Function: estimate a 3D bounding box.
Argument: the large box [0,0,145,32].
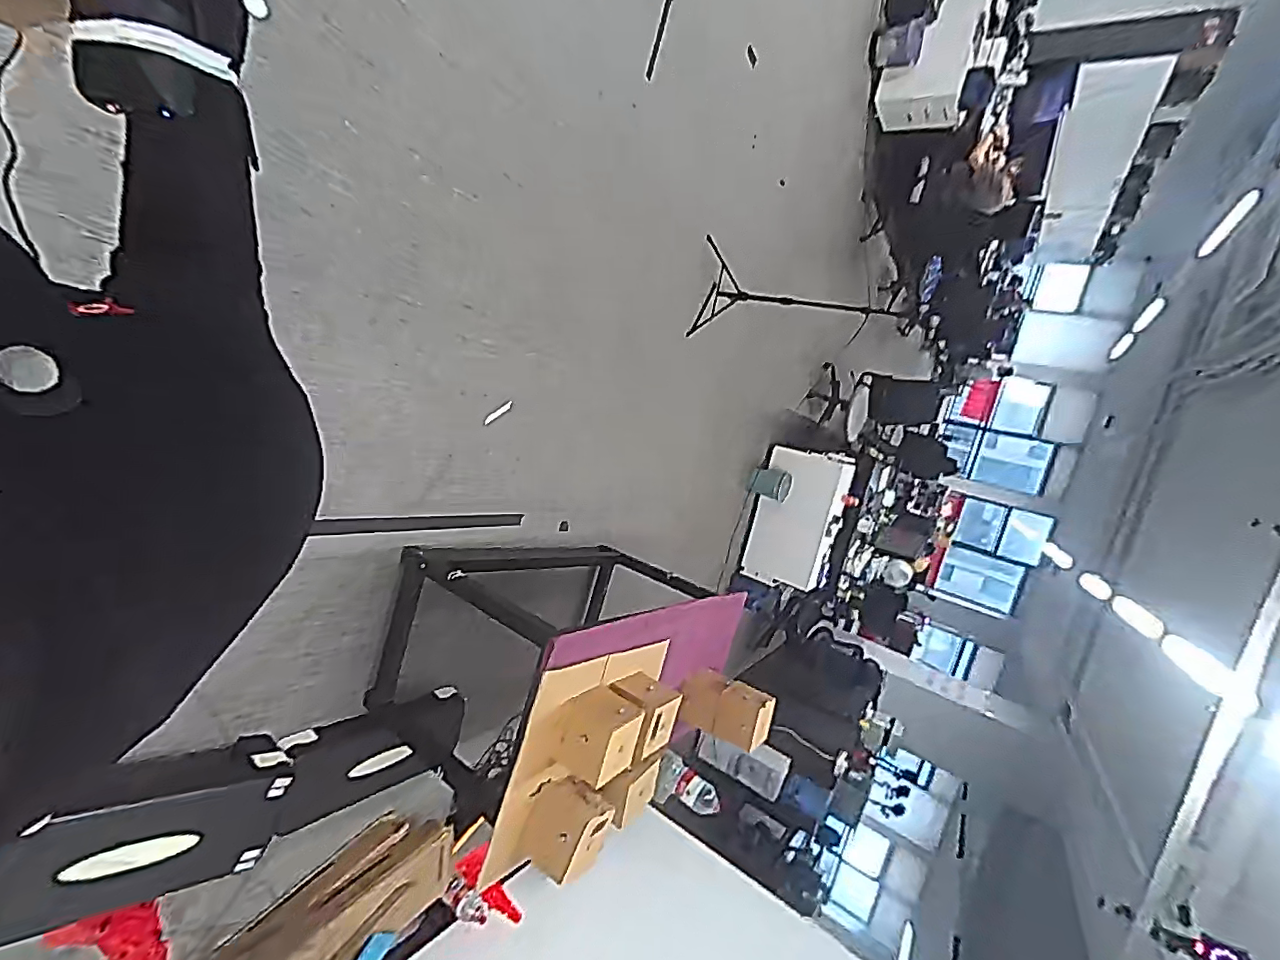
[{"bbox_3d":[-0.516,-0.464,0.212,0.408,0.320,0.320,-13,123,-57],"label":"large box"}]
